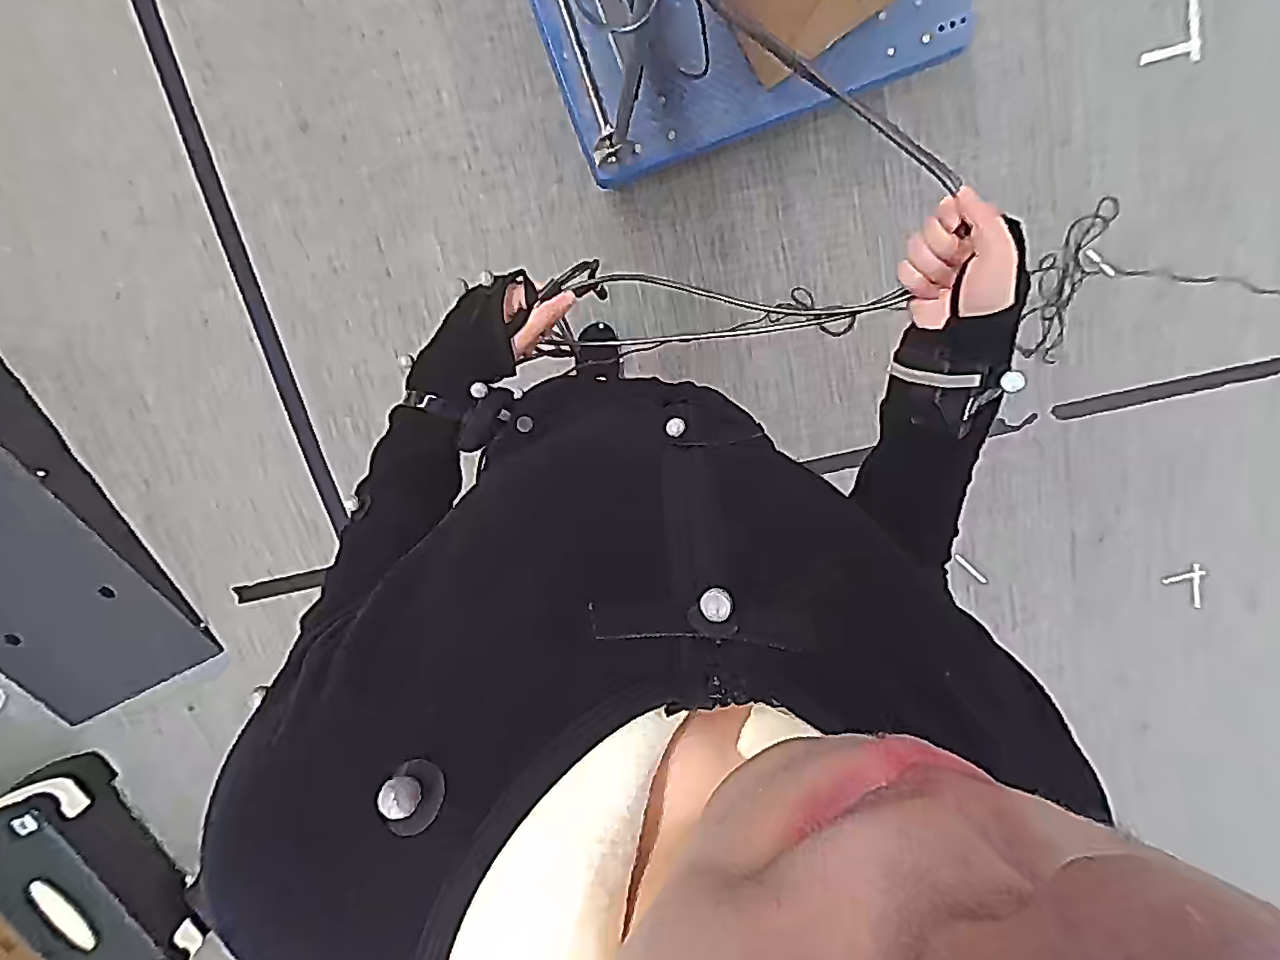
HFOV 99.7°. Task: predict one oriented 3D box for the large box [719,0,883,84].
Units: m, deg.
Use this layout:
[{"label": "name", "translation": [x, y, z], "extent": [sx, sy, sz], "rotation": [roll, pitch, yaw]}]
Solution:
[{"label": "large box", "translation": [0.290, -1.040, 0.948], "extent": [0.320, 0.320, 0.408], "rotation": [-34, 104, 5]}]
